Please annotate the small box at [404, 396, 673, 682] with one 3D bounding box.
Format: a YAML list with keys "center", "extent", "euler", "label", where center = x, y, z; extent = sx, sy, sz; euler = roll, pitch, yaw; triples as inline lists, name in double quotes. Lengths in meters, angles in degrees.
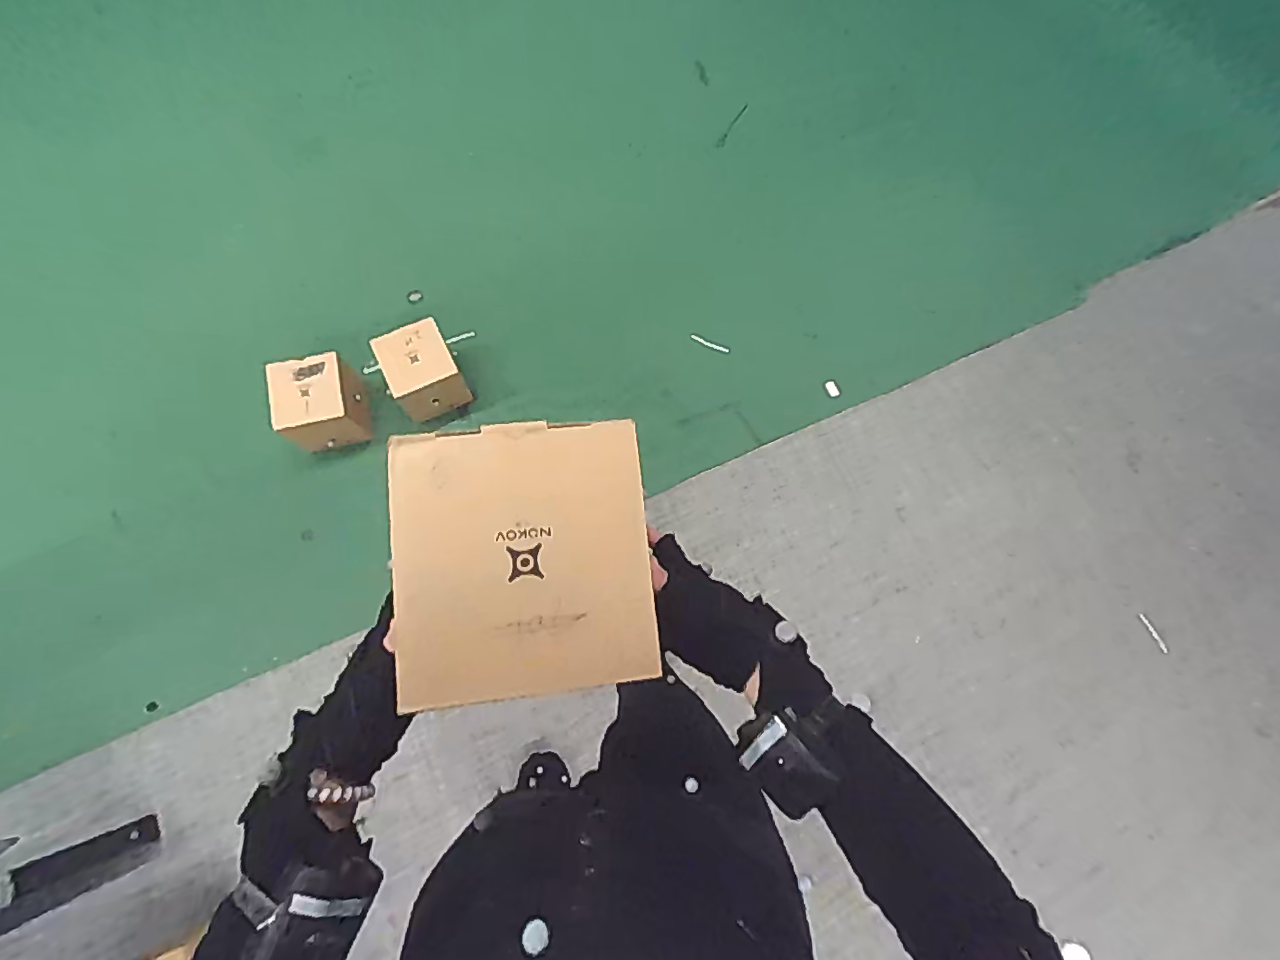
- center: [-0.077, 0.046, 0.426]
  extent: [0.168, 0.176, 0.179]
  euler: [-4, 81, -8]
  label: "small box"

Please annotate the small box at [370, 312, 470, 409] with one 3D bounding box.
- center: [-0.559, -0.292, 1.396]
  extent: [0.168, 0.176, 0.179]
  euler: [-25, 77, -11]
  label: "small box"

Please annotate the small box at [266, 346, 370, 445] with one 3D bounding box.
- center: [-0.800, -0.207, 1.355]
  extent: [0.168, 0.176, 0.179]
  euler: [-13, 76, -7]
  label: "small box"
